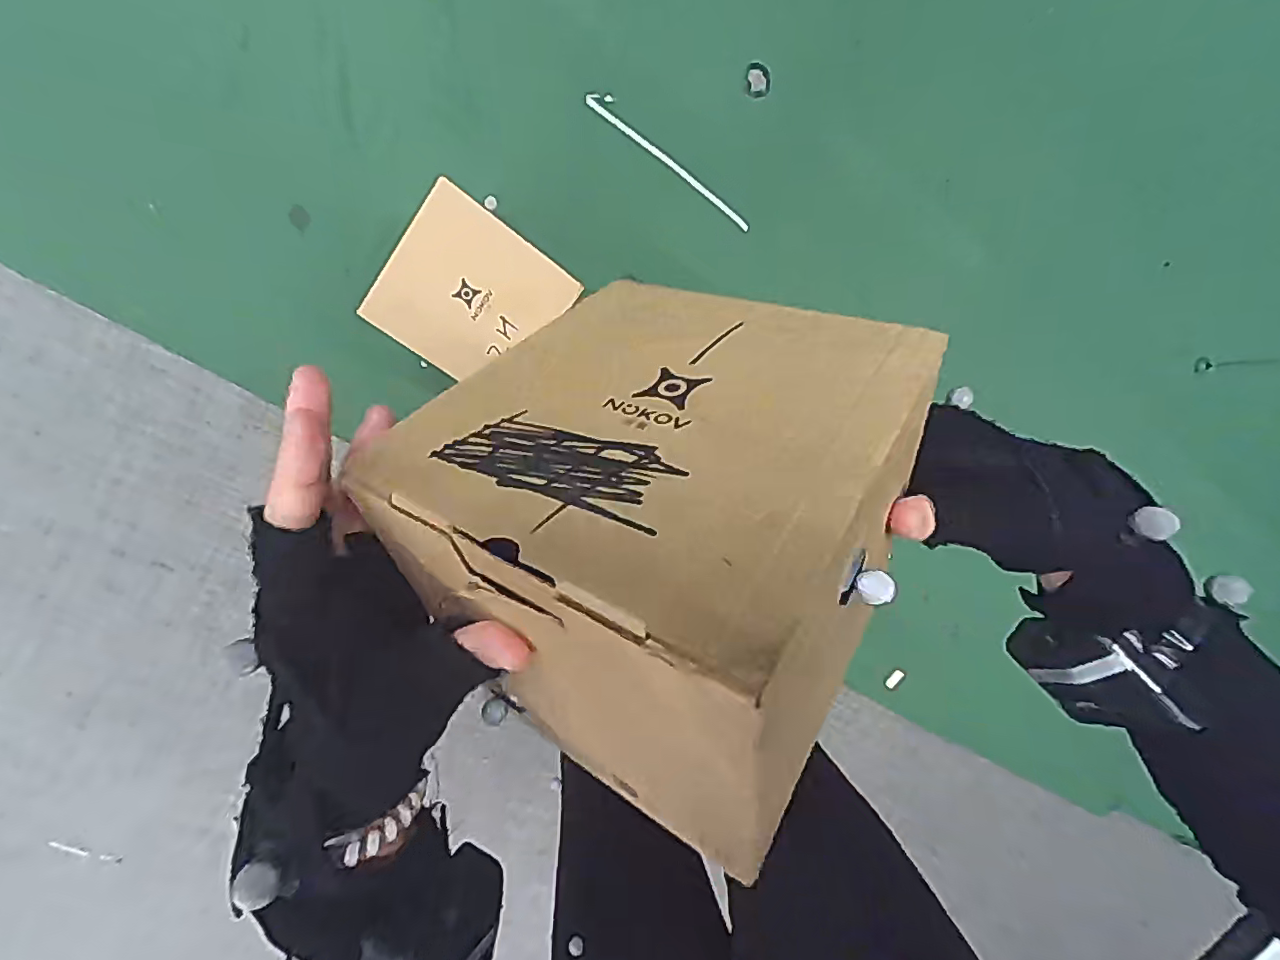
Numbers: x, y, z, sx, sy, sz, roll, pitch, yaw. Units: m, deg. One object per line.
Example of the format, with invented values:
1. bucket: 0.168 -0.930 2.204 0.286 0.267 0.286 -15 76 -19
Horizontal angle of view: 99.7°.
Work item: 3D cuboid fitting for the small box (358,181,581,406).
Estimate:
1. small box: -0.192 -0.213 0.649 0.179 0.176 0.168 34 99 -18
